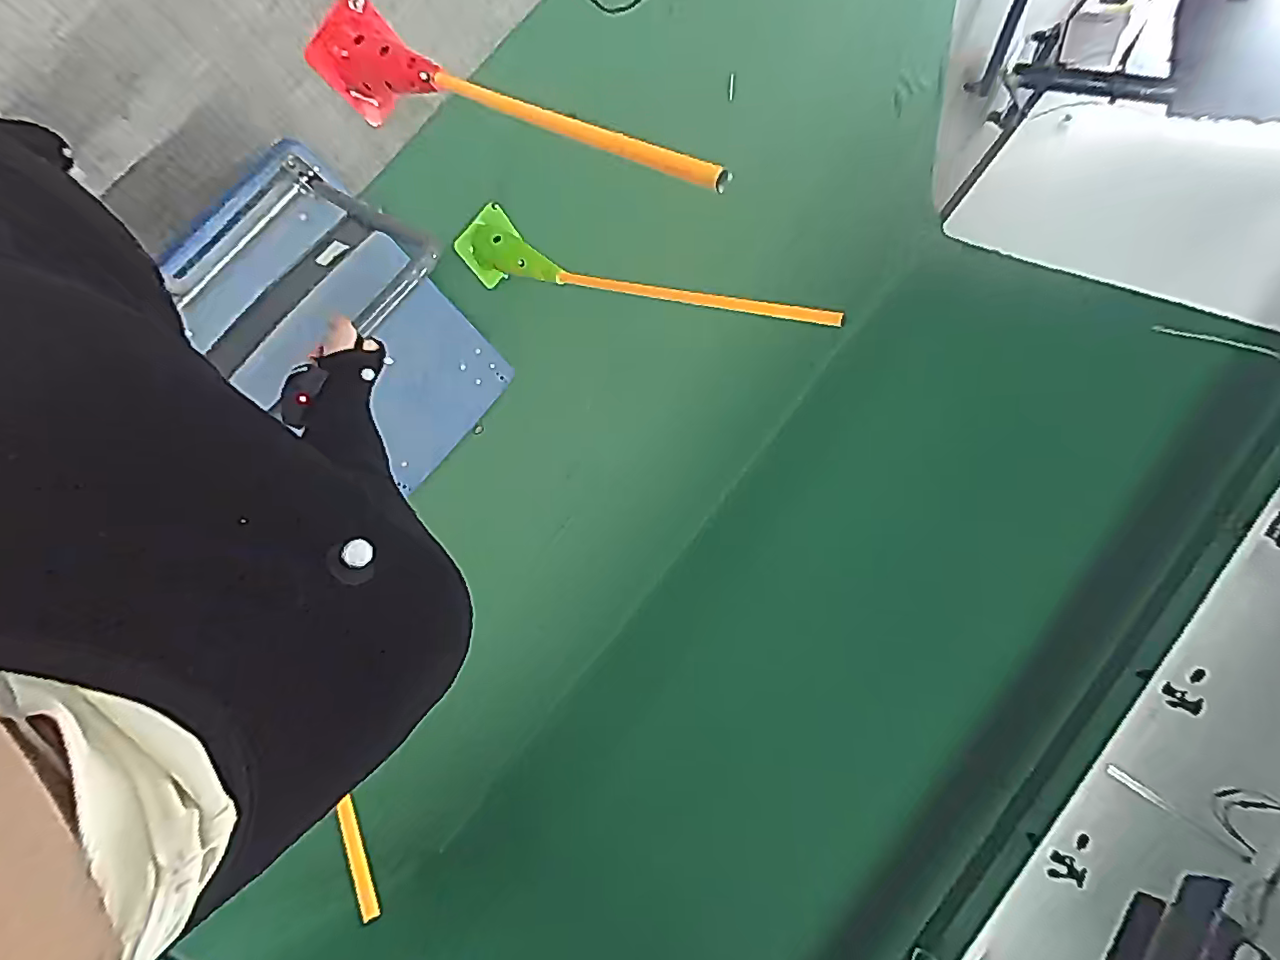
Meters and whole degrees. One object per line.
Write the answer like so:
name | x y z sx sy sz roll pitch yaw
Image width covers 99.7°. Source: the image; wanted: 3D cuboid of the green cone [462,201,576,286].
green cone | -0.330 -0.664 1.633 0.200 0.368 0.202 -52 150 -5
